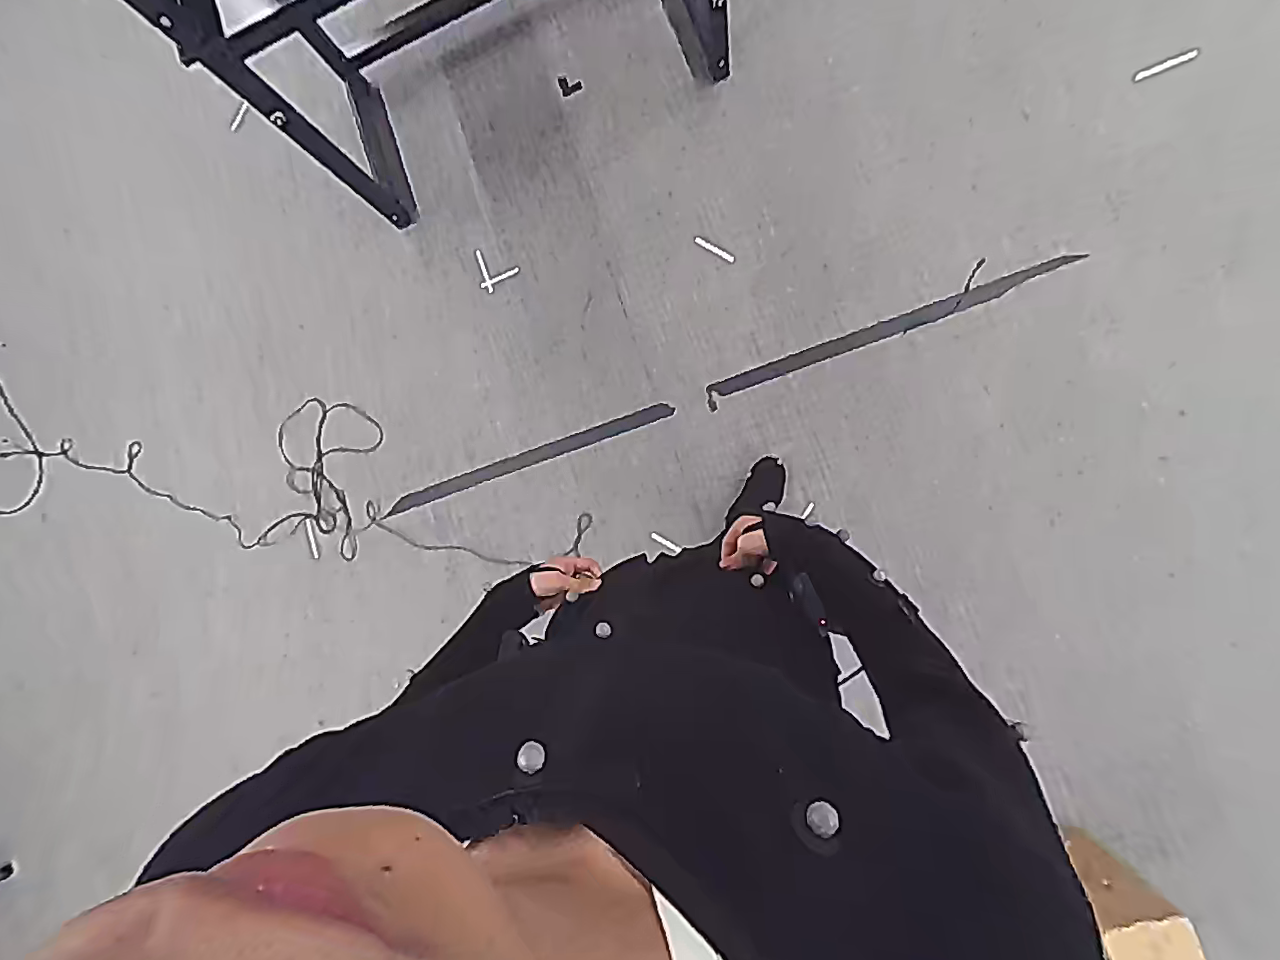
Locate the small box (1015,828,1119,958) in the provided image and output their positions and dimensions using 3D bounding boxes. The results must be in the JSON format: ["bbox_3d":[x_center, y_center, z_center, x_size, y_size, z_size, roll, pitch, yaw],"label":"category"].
[{"bbox_3d":[1.055,0.987,1.304,0.168,0.176,0.179,-17,84,7],"label":"small box"}]

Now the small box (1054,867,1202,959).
[{"bbox_3d":[1.034,0.970,1.142,0.168,0.176,0.179,-18,83,7],"label":"small box"}]
